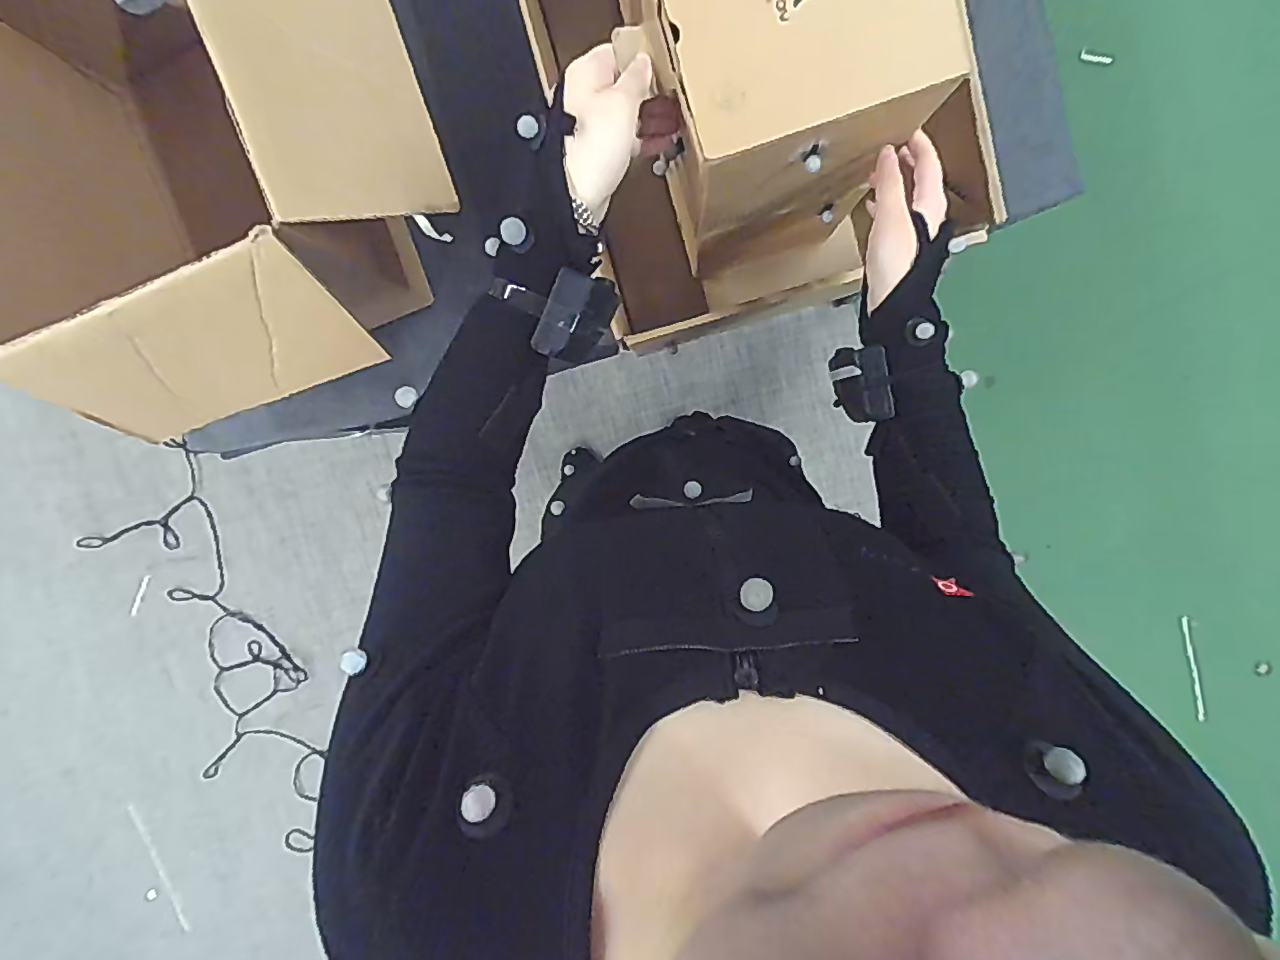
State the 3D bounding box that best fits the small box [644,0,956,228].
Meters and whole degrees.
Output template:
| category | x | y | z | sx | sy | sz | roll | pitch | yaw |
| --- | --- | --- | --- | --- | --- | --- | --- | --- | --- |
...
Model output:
| category | x | y | z | sx | sy | sz | roll | pitch | yaw |
| --- | --- | --- | --- | --- | --- | --- | --- | --- | --- |
| small box | 0.105 | -0.324 | 0.426 | 0.179 | 0.176 | 0.168 | -16 | 98 | 5 |
